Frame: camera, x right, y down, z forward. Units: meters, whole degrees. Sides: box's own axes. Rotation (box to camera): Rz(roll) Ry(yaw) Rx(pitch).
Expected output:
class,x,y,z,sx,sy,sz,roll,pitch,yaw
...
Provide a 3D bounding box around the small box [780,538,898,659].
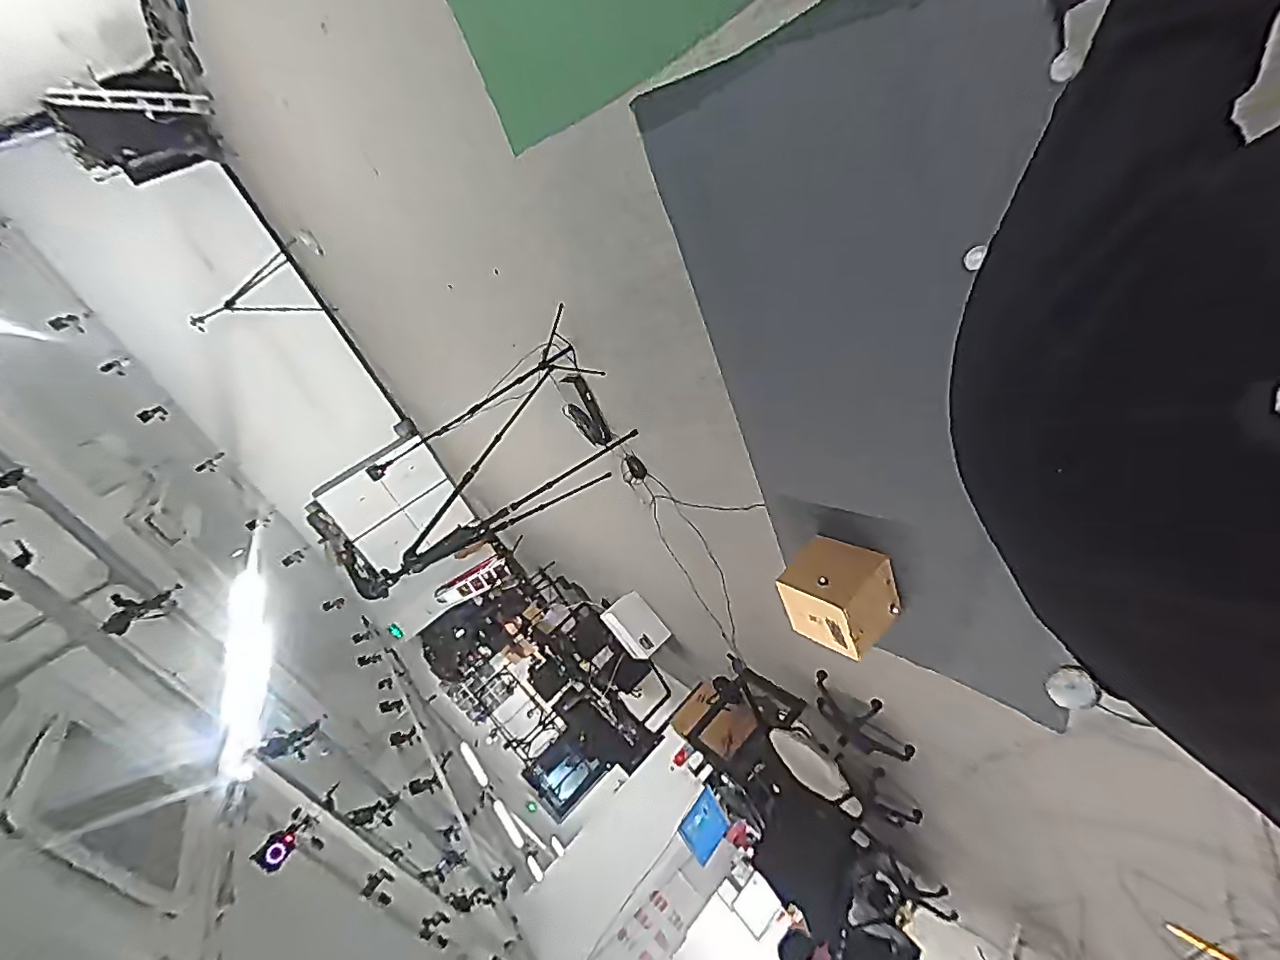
class,x,y,z,sx,sy,sz,roll,pitch,yaw
small box,0.446,0.251,1.192,0.179,0.176,0.168,17,139,53
